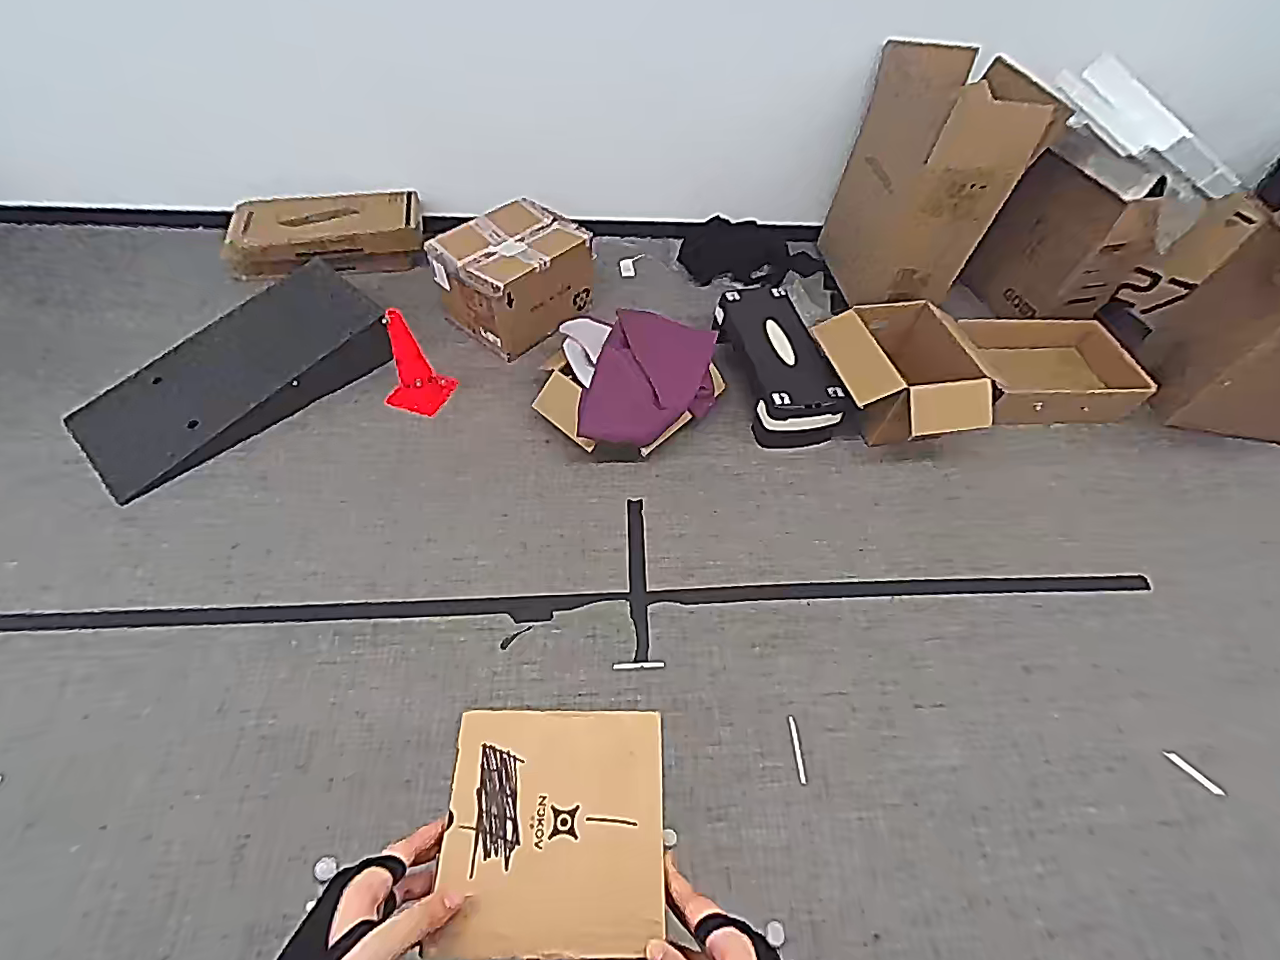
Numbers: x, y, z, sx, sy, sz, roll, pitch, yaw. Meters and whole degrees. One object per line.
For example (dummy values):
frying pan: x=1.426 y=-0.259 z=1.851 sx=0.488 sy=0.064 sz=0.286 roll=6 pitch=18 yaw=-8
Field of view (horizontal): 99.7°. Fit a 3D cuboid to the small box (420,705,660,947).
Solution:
small box: x=-0.071 y=0.313 z=0.495 sx=0.179 sy=0.176 sz=0.168 roll=0 pitch=54 yaw=0
